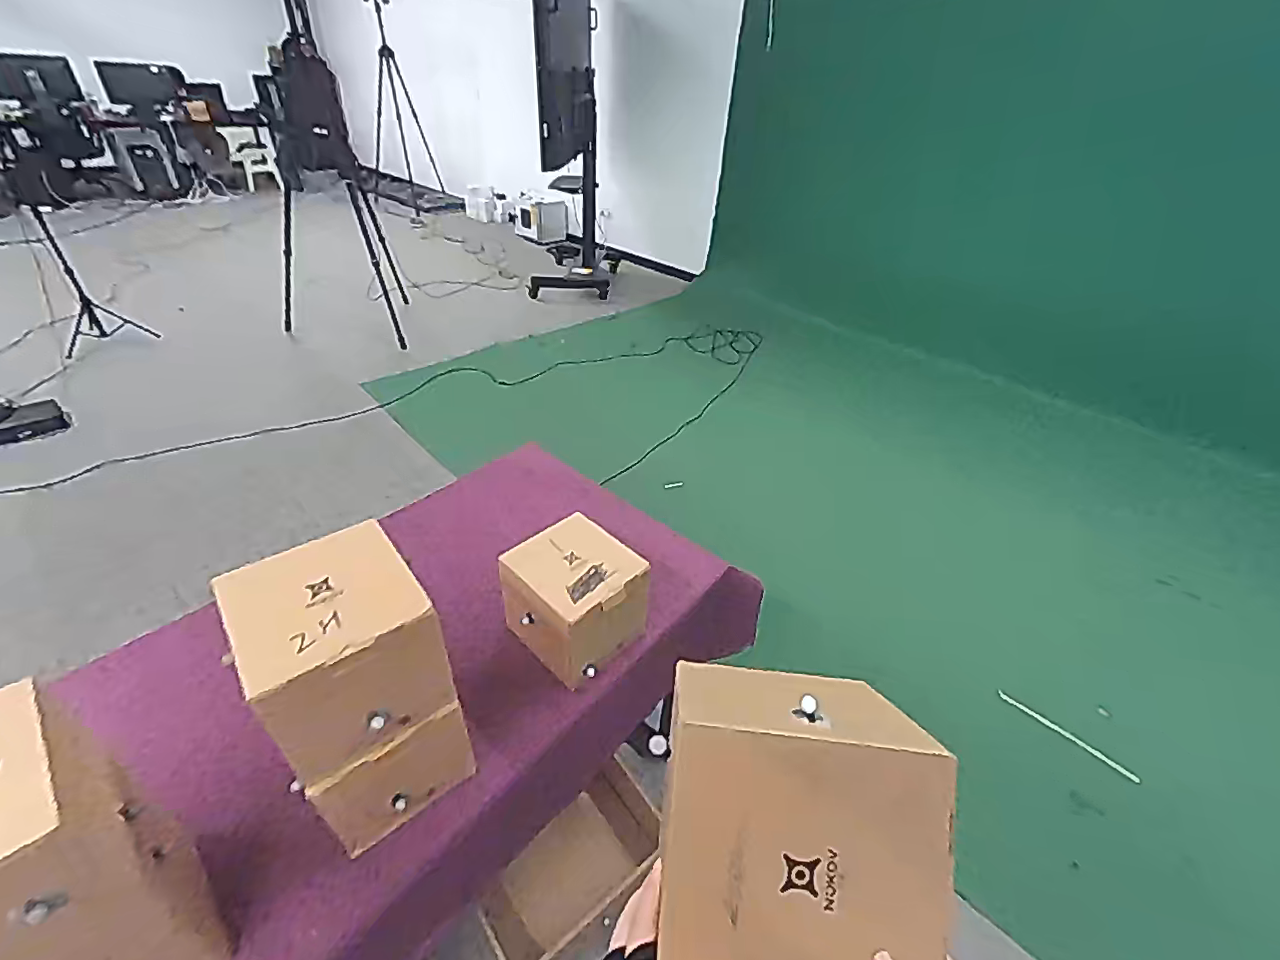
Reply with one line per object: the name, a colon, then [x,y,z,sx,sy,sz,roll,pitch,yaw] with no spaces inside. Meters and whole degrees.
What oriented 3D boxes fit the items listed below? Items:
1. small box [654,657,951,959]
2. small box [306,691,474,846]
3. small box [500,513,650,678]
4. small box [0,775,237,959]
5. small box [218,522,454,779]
small box: [0.107,0.246,0.420,0.179,0.168,0.176,6,-5,4]
small box: [-0.333,0.318,0.695,0.168,0.176,0.179,-26,47,-33]
small box: [-0.103,0.190,0.880,0.179,0.176,0.168,32,45,33]
small box: [-0.536,0.439,0.515,0.168,0.176,0.179,33,46,31]
small box: [-0.327,0.183,0.600,0.168,0.176,0.179,-25,47,-32]
